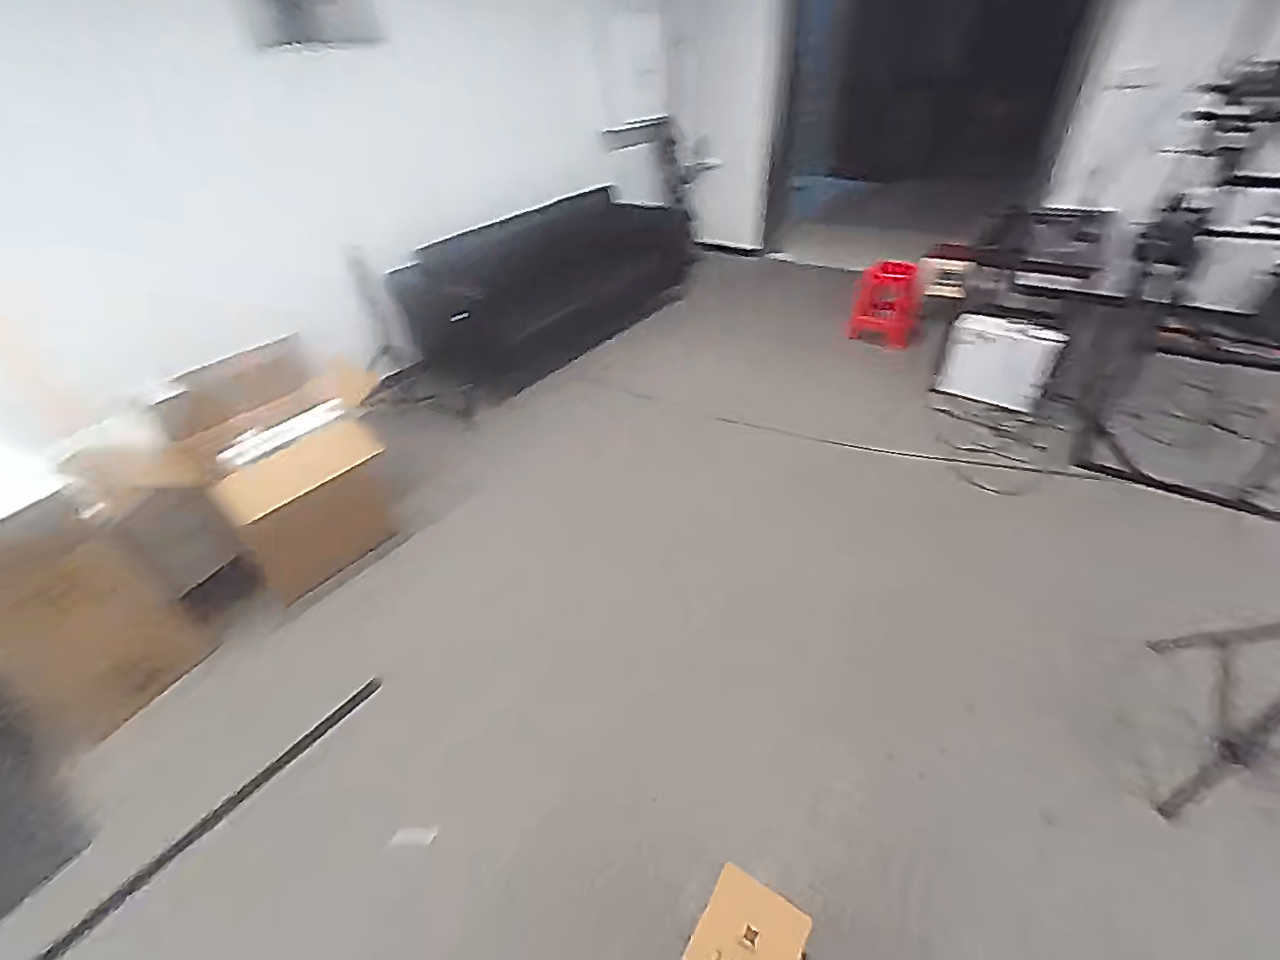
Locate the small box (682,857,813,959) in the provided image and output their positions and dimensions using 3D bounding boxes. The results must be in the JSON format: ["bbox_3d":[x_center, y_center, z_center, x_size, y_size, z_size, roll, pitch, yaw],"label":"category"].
[{"bbox_3d":[0.187,0.832,0.960,0.168,0.176,0.179,20,44,30],"label":"small box"}]
